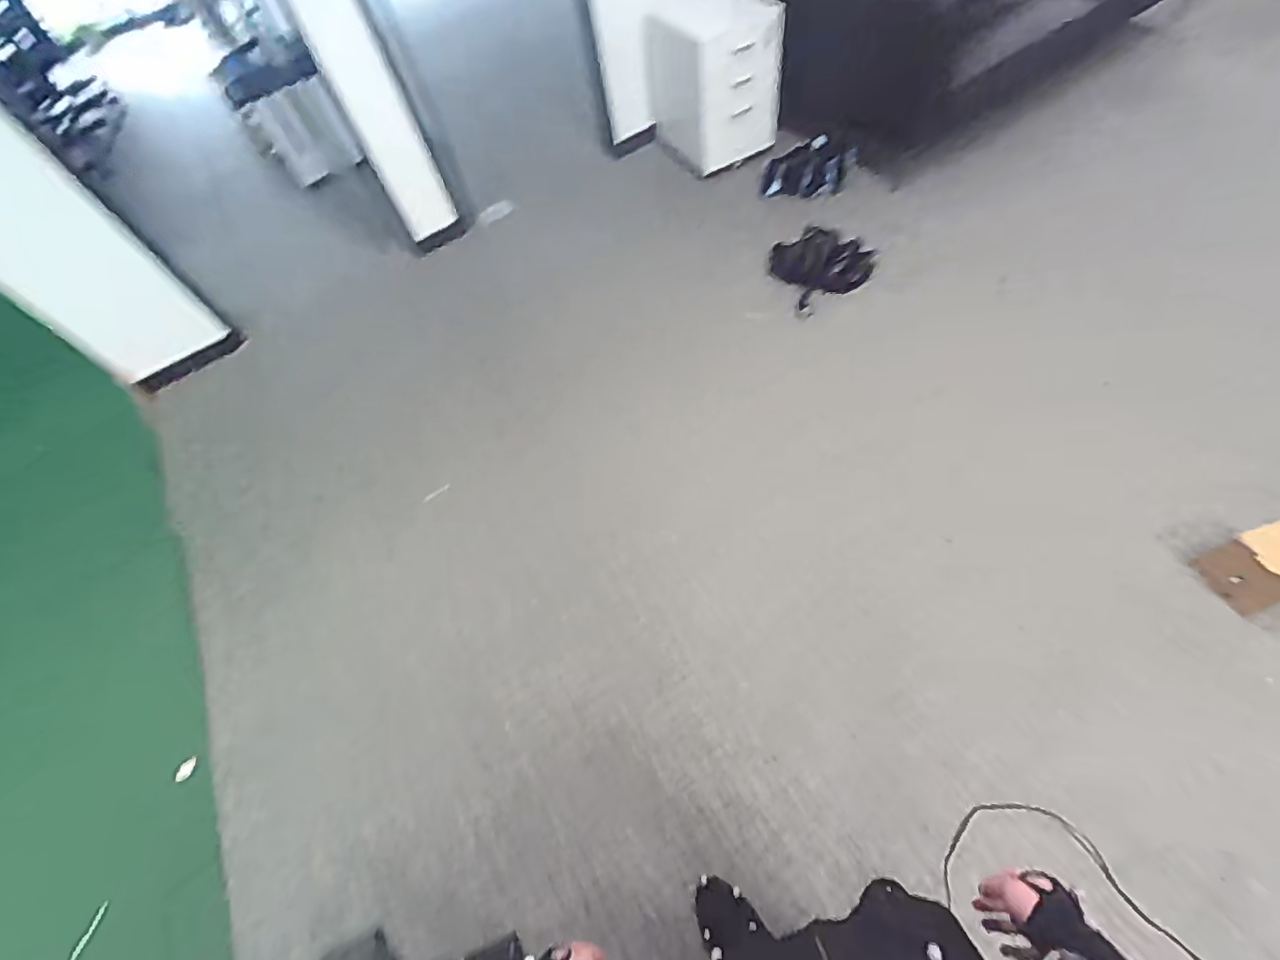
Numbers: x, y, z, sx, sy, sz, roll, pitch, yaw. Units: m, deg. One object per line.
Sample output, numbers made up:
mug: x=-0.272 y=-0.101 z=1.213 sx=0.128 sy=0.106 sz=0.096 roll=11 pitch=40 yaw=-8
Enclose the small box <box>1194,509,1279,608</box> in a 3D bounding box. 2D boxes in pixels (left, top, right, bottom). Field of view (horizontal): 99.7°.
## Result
small box: x=1.533 y=0.193 z=1.324 sx=0.179 sy=0.176 sz=0.168 roll=-18 pitch=56 yaw=-1
